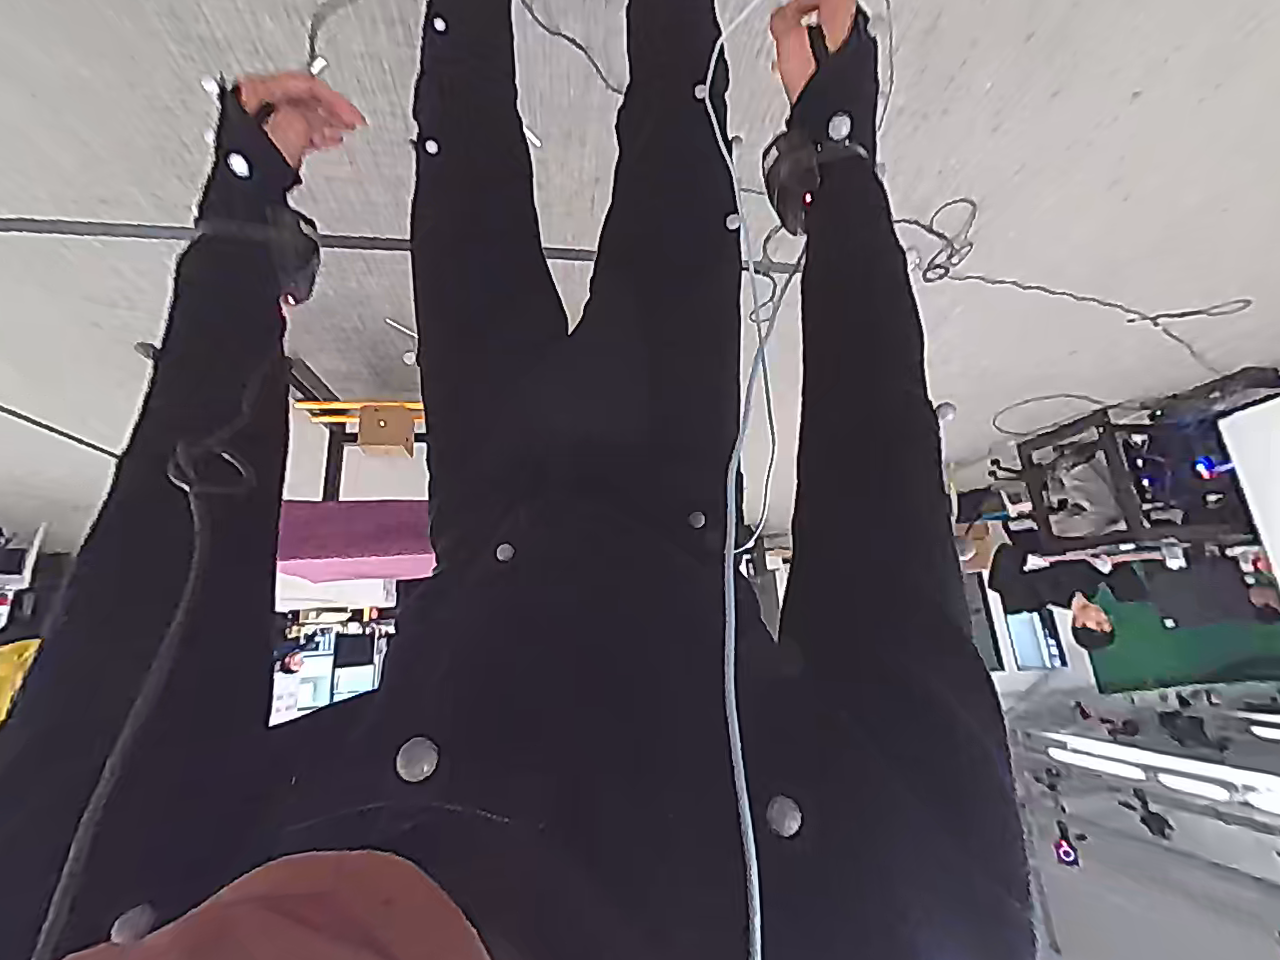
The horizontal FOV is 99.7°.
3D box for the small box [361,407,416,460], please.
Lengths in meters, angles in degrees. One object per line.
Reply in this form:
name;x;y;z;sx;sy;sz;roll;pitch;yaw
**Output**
small box;-1.008;-0.188;2.172;0.168;0.176;0.179;-1;165;-10
